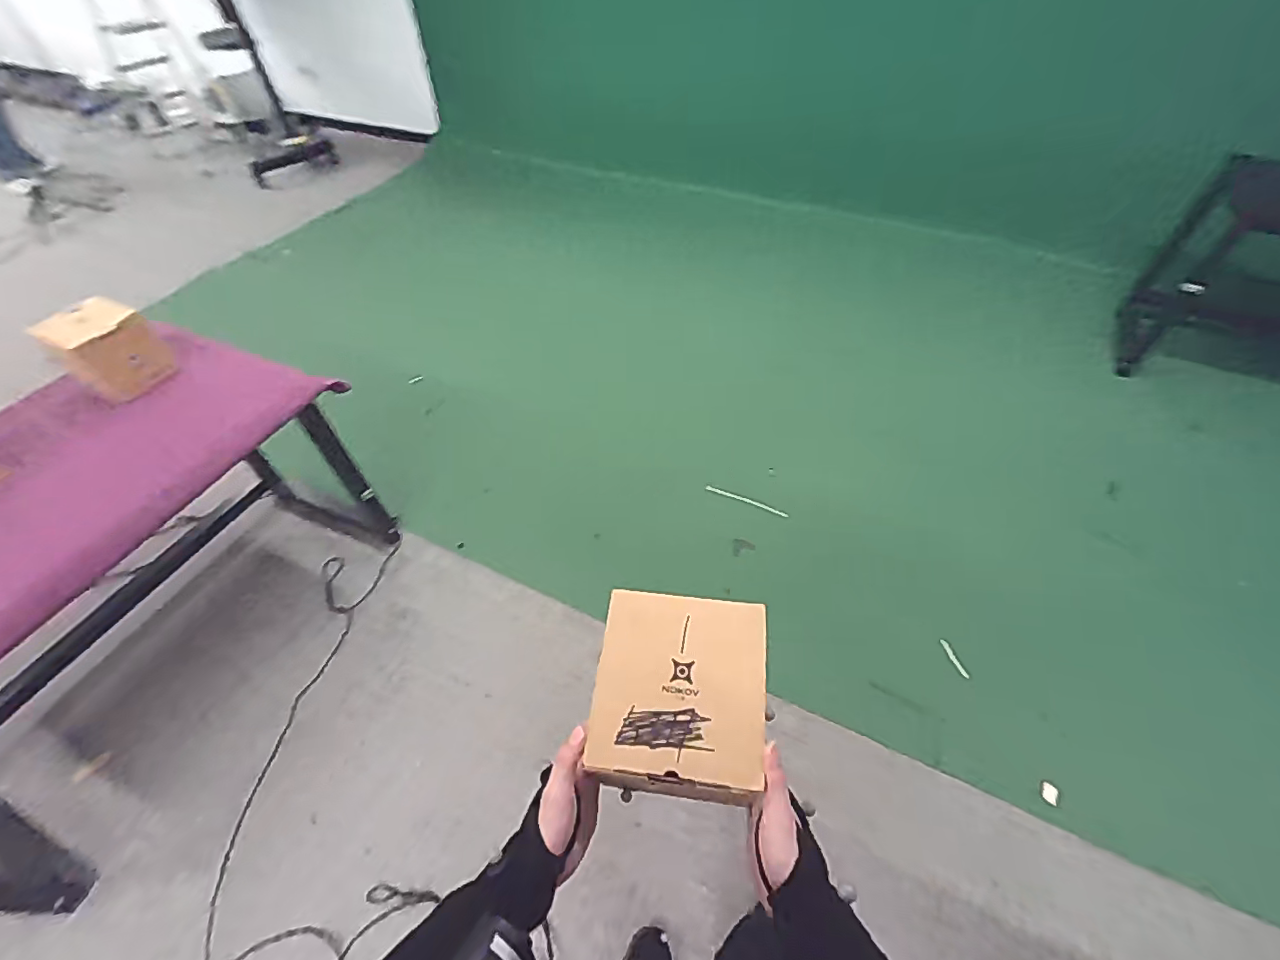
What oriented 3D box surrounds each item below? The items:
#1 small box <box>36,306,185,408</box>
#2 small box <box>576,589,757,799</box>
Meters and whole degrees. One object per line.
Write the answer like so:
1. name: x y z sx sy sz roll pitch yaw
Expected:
1. small box: -1.314 -0.305 1.358 0.179 0.176 0.168 20 54 17
2. small box: 0.037 0.238 0.592 0.168 0.176 0.179 3 56 6
